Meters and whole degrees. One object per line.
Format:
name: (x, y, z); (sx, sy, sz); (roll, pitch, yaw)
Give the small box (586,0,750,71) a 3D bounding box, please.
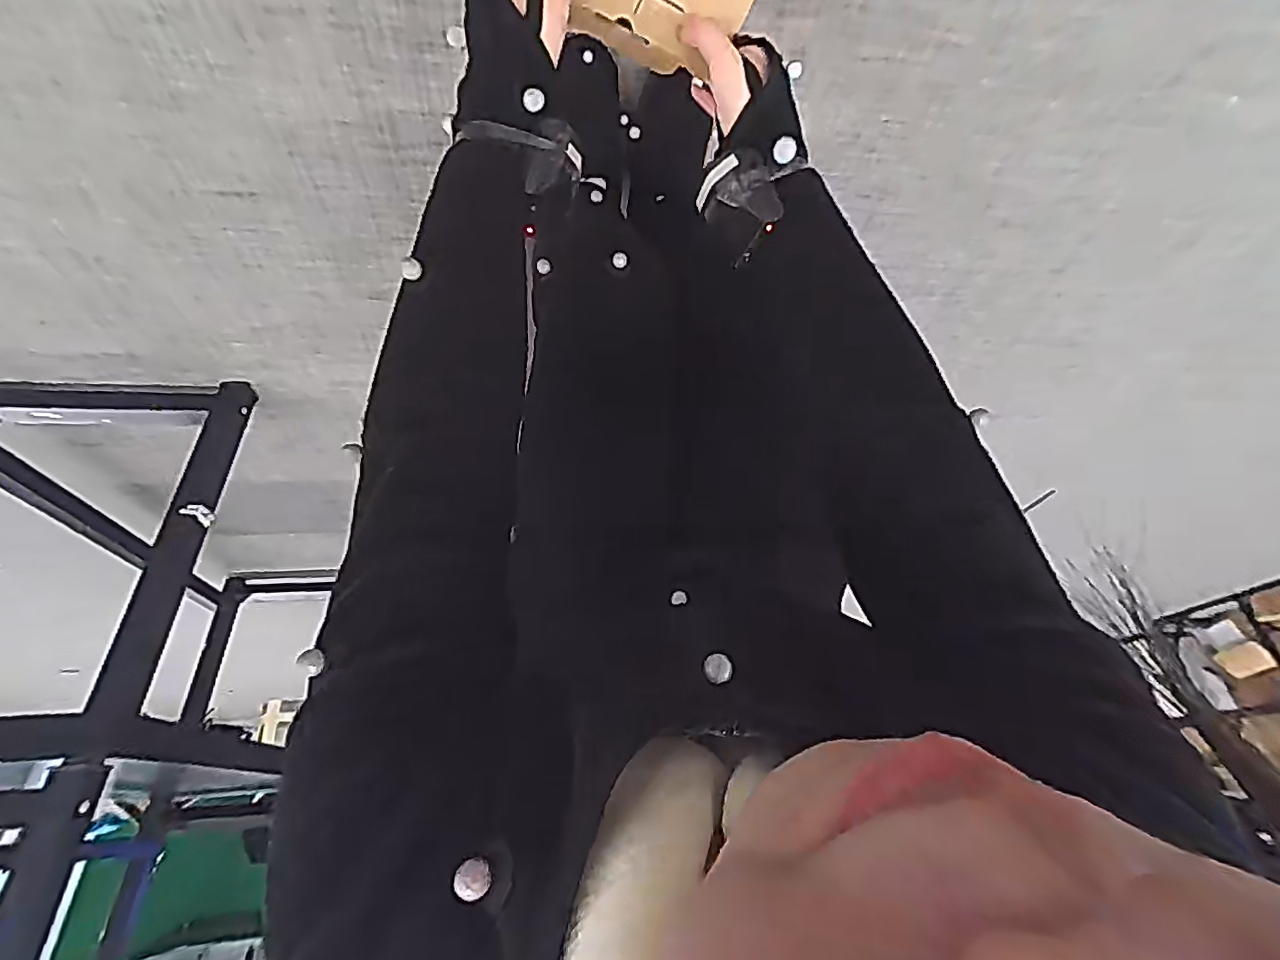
small box: (0.011, -0.438, 0.365); (0.168, 0.176, 0.179); (9, 140, -27)
